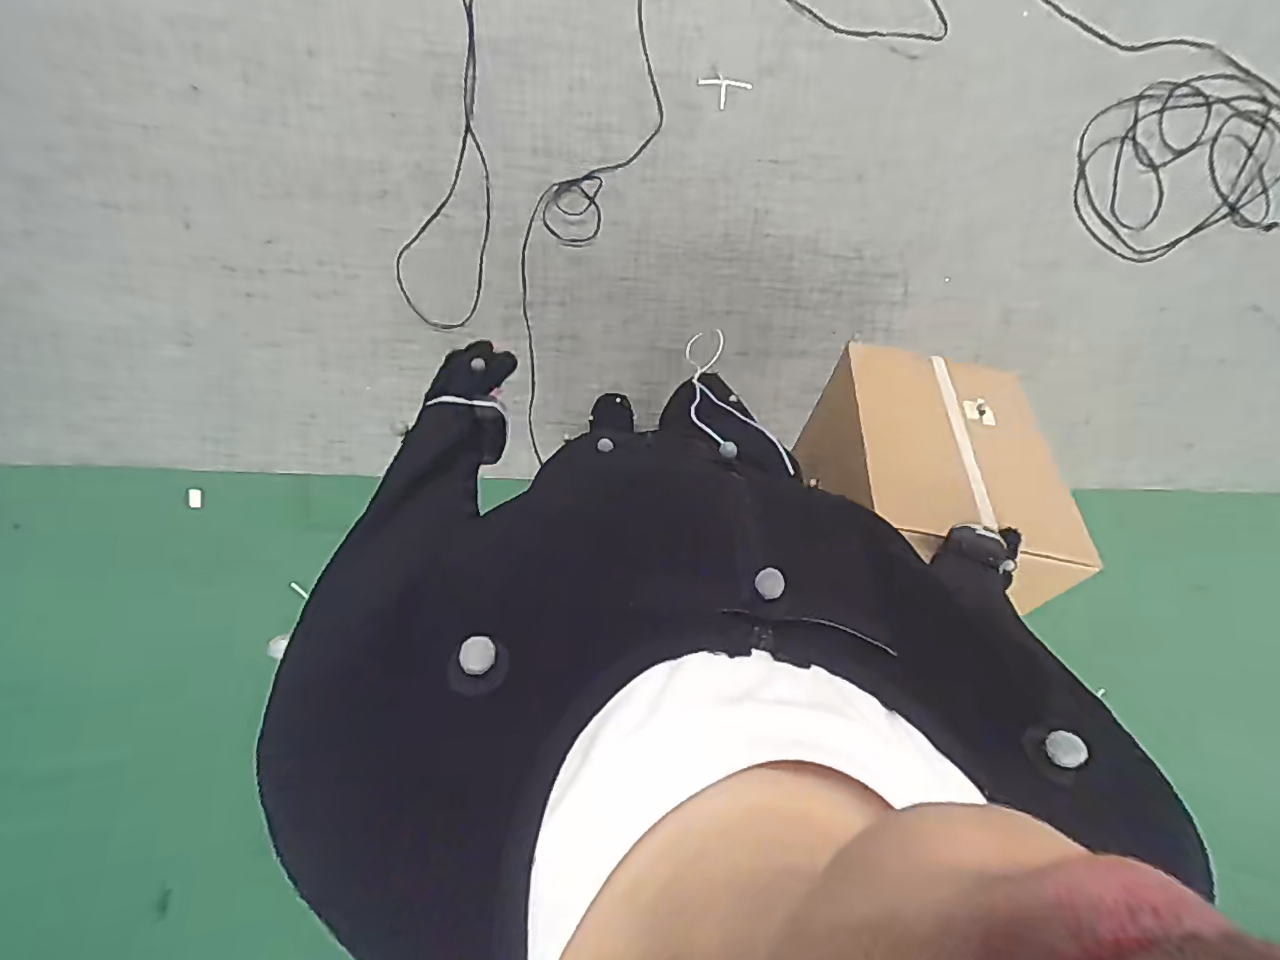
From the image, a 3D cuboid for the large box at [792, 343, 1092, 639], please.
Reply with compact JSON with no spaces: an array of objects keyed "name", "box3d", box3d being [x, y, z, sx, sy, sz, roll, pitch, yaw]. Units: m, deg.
[{"name":"large box","box3d":[0.477,0.023,0.971,0.320,0.408,0.320,11,142,-1]}]
